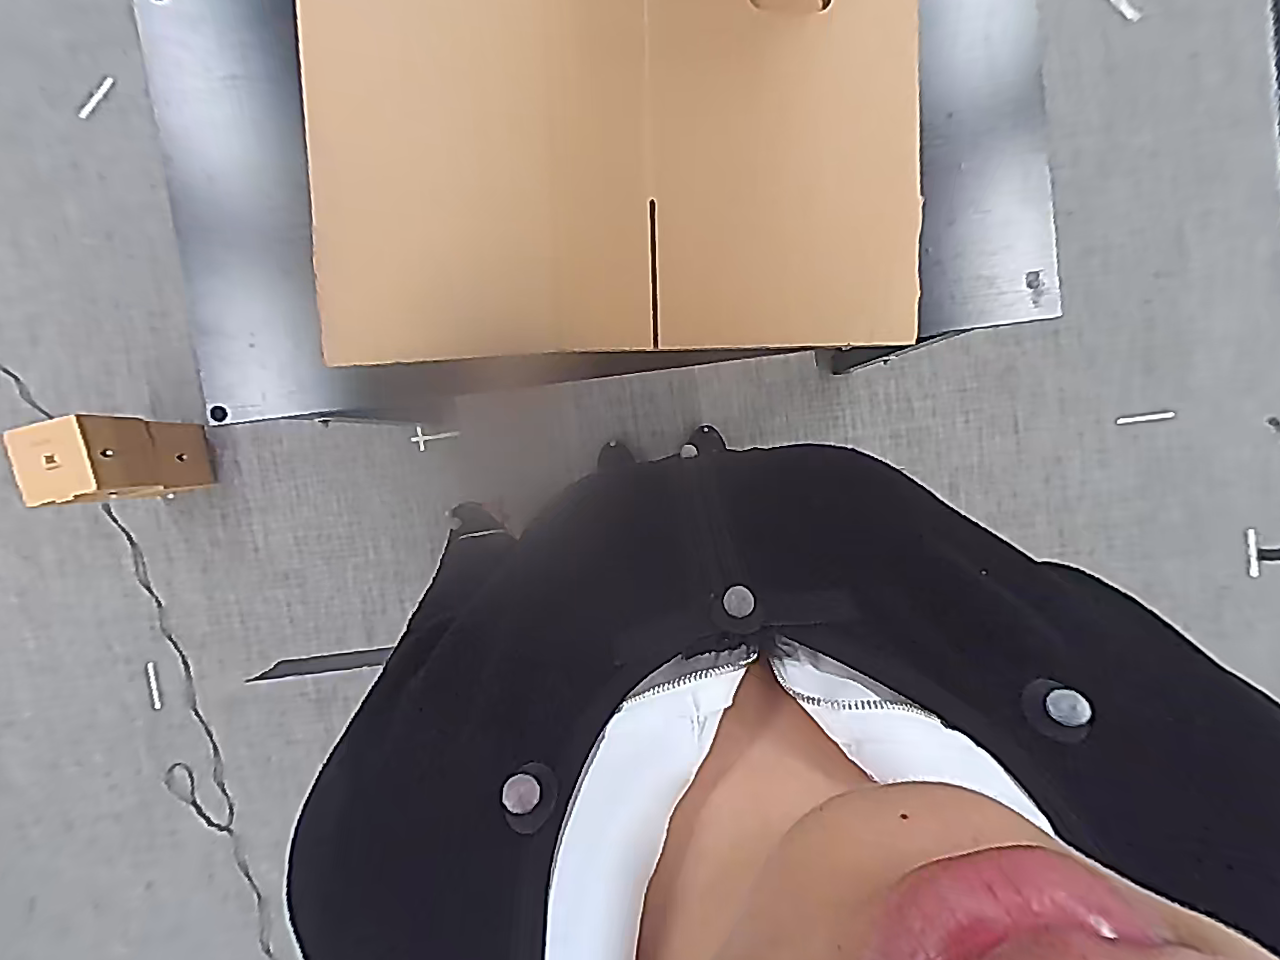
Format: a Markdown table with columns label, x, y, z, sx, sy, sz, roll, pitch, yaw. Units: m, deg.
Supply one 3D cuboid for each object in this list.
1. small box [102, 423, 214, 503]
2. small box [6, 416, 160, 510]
| label | x | y | z | sx | sy | sz | roll | pitch | yaw |
| --- | --- | --- | --- | --- | --- | --- | --- | --- | --- |
| small box | -1.274 | -0.046 | 1.418 | 0.168 | 0.176 | 0.179 | -11 | 94 | 1 |
| small box | -1.276 | -0.042 | 1.255 | 0.168 | 0.176 | 0.179 | -14 | 92 | 0 |
